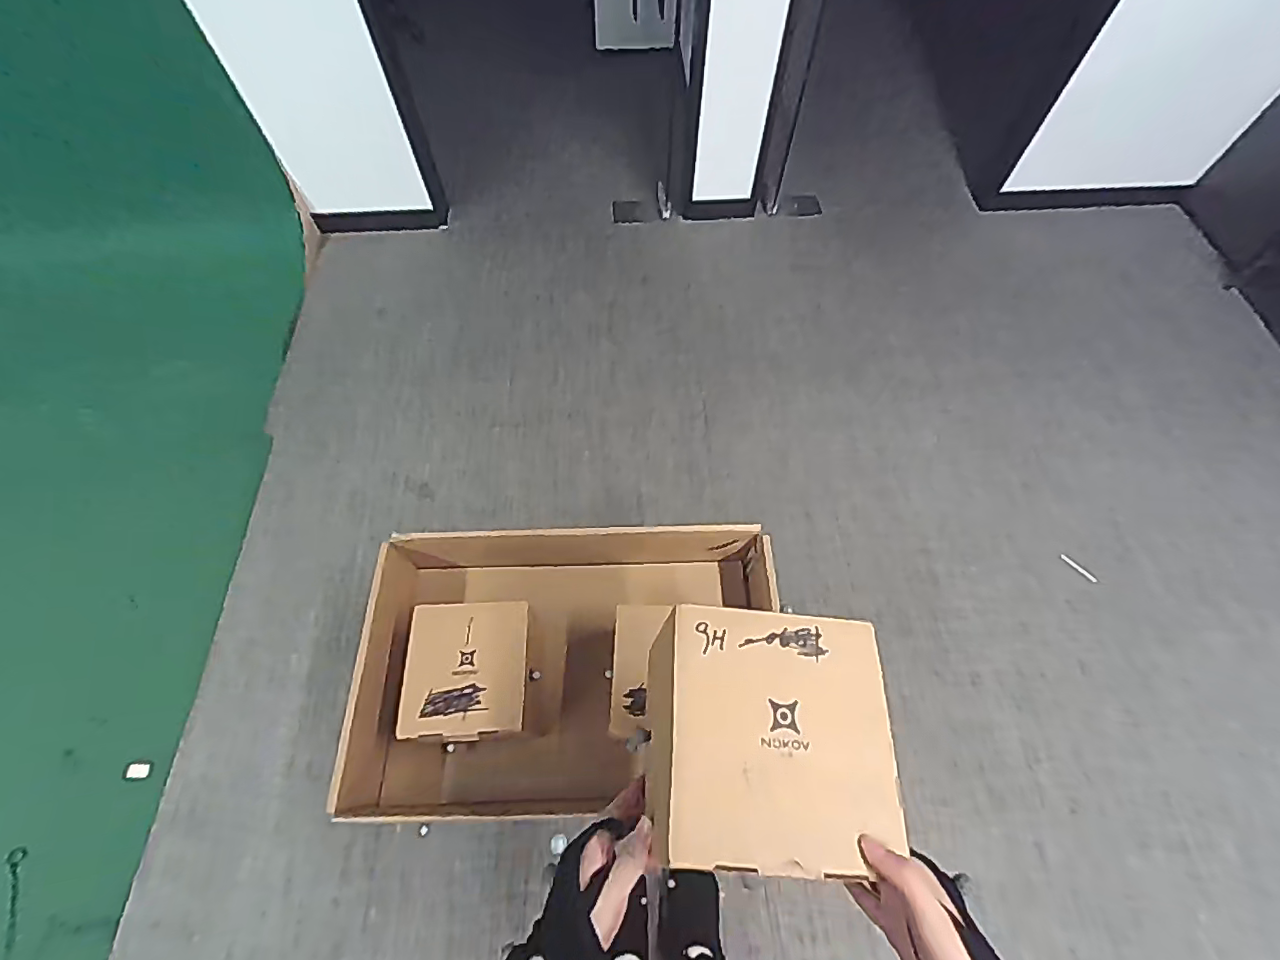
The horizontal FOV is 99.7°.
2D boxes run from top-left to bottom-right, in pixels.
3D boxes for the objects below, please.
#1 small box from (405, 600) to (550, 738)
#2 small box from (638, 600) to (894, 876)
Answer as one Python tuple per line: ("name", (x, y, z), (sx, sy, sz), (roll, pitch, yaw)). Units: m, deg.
("small box", (-0.232, 0.292, 0.818), (0.168, 0.176, 0.179), (-3, 62, -1))
("small box", (0.090, 0.219, 0.469), (0.168, 0.176, 0.179), (6, 60, -3))
